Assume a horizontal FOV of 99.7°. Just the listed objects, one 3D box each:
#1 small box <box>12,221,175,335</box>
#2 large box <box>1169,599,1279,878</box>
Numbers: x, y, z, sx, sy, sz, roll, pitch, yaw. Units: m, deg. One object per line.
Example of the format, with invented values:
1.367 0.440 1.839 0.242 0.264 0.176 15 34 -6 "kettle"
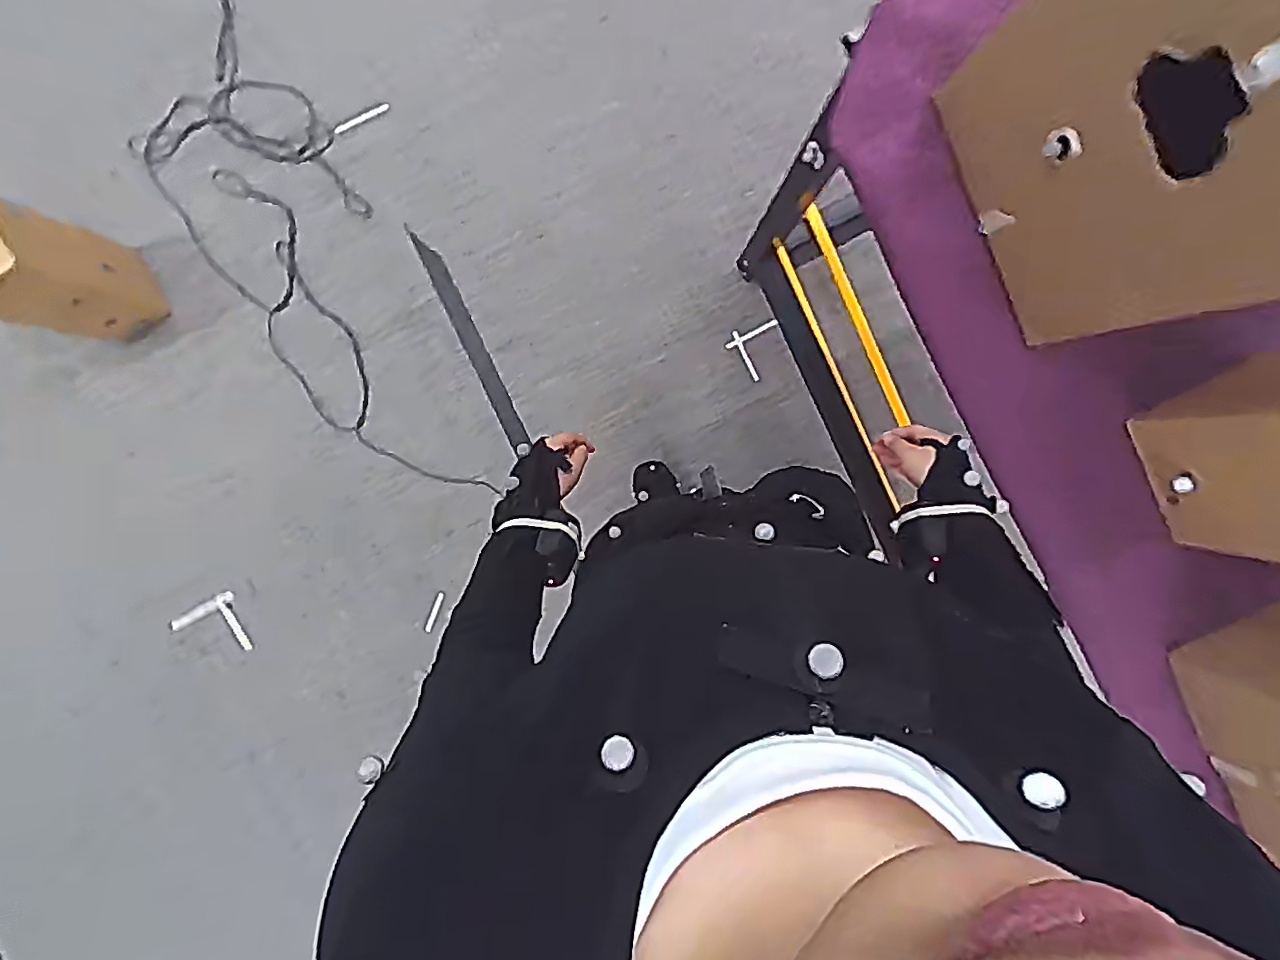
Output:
-1.240 -0.450 1.243 0.168 0.176 0.179 -27 94 1 "small box"
0.880 0.265 0.516 0.408 0.320 0.320 -26 94 0 "large box"
